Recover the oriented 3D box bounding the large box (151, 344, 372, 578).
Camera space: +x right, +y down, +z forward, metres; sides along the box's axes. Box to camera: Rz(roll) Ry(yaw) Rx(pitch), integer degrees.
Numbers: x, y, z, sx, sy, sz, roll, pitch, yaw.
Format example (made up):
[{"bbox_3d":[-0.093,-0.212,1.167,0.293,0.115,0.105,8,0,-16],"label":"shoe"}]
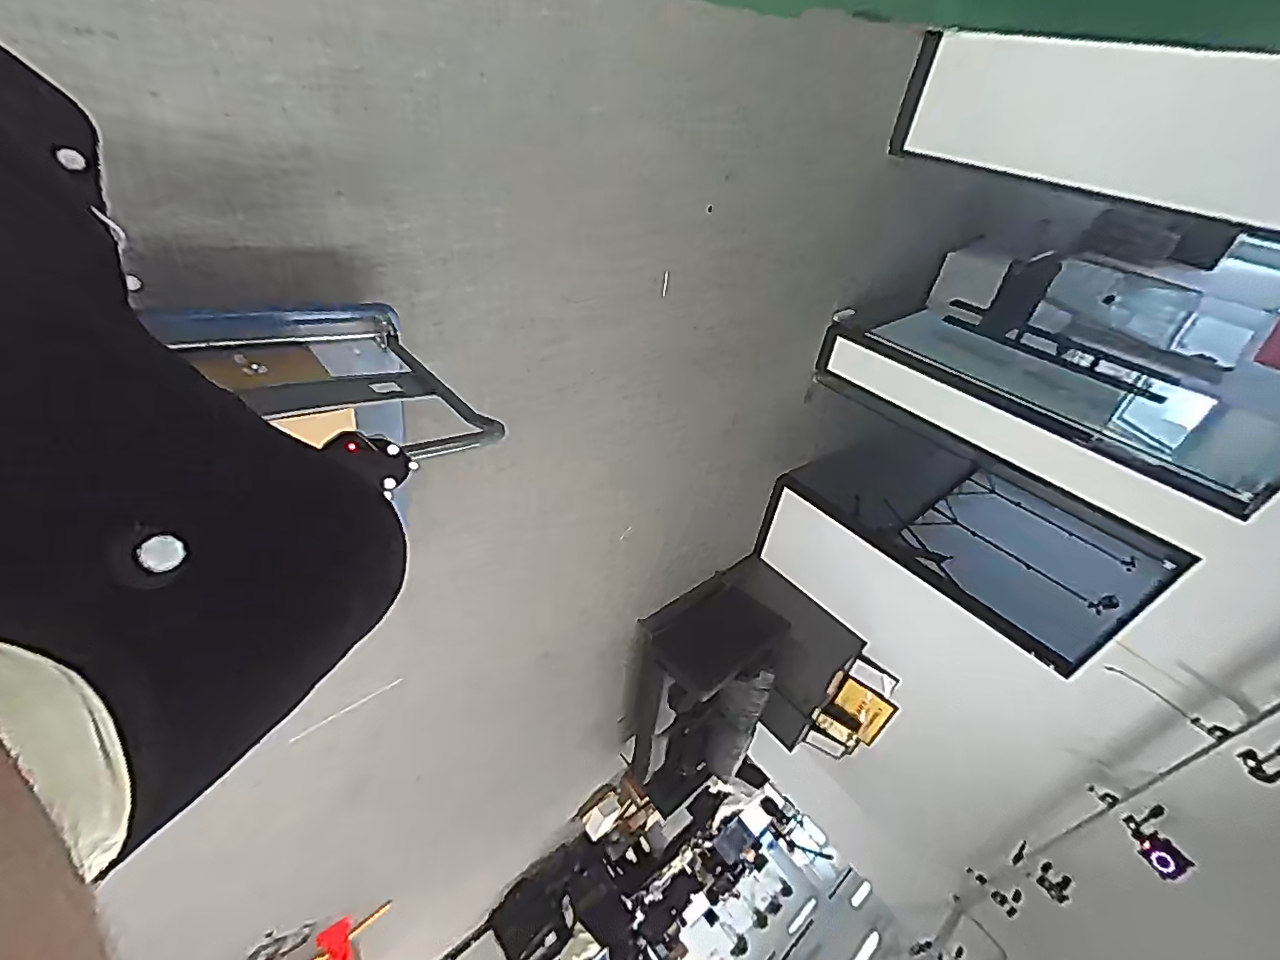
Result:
[{"bbox_3d":[-0.858,-0.058,1.259,0.320,0.320,0.408,-18,136,-38],"label":"large box"}]
